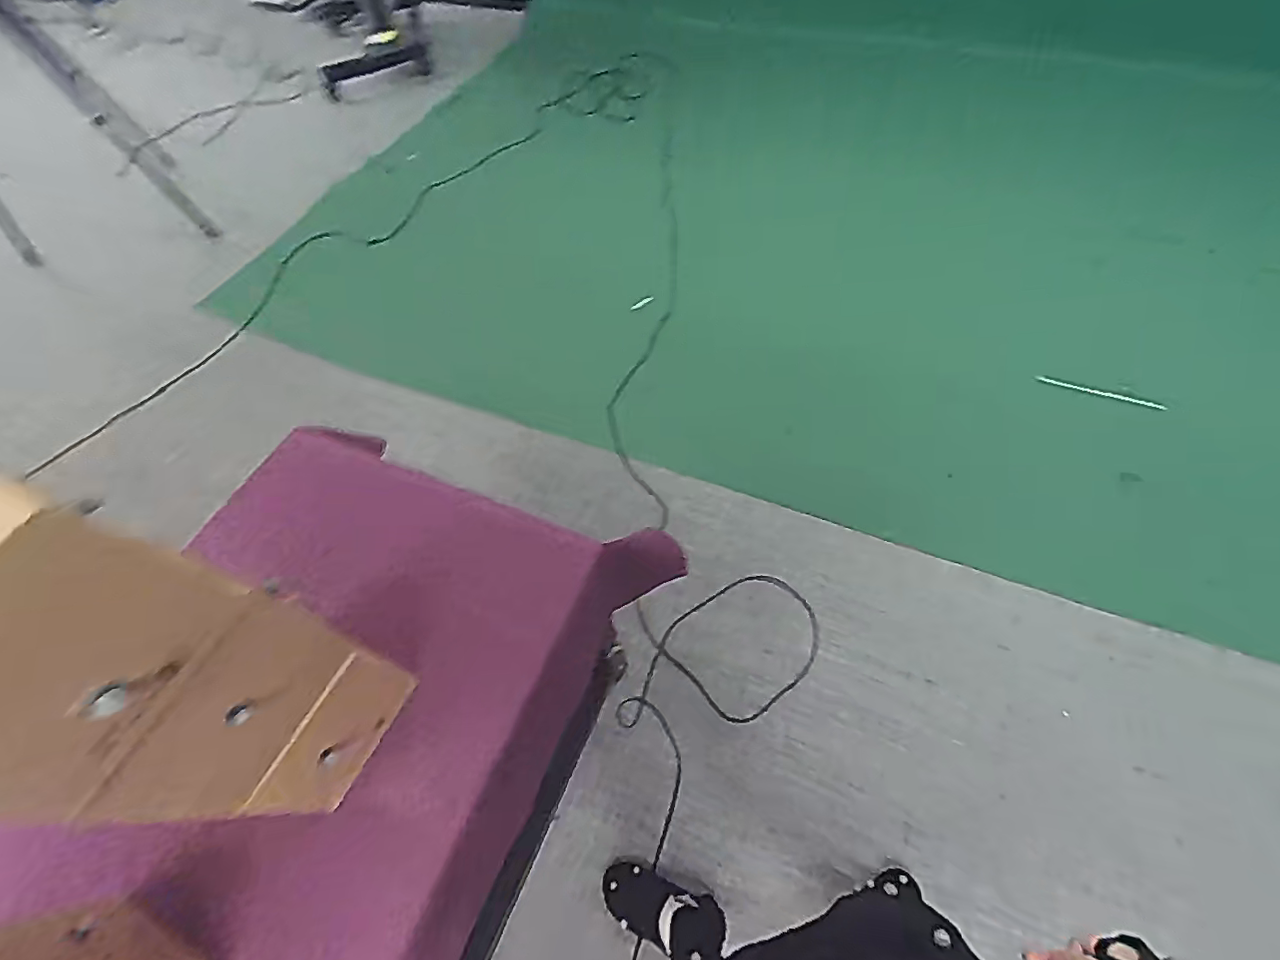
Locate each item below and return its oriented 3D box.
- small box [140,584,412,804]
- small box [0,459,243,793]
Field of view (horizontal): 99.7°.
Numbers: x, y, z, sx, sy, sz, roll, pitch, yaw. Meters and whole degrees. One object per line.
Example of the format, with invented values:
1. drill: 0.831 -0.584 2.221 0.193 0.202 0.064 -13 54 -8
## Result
1. small box: -0.408 0.251 0.635 0.179 0.176 0.168 20 63 16
2. small box: -0.426 0.085 0.351 0.179 0.176 0.168 20 63 15
